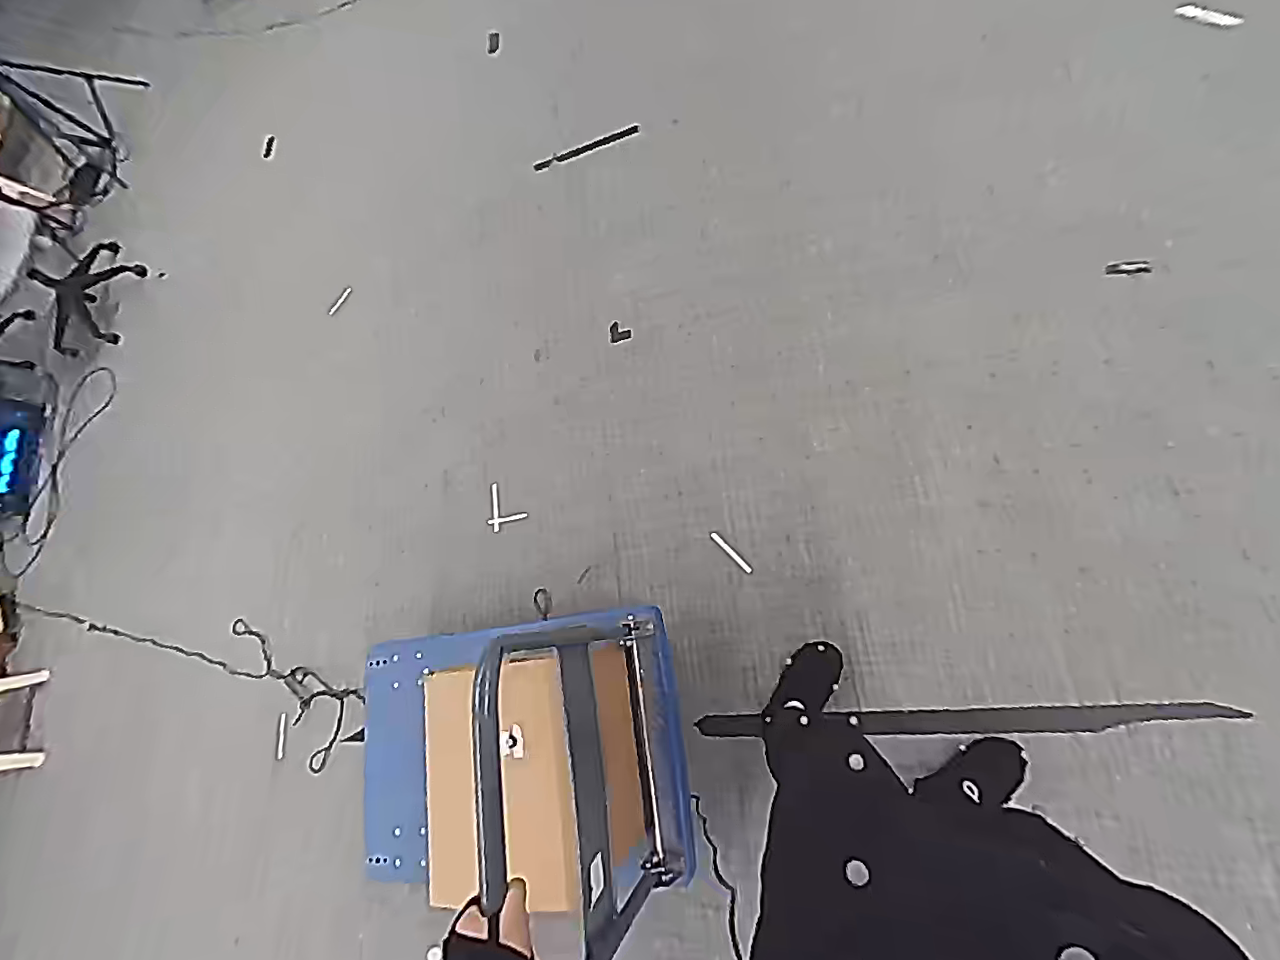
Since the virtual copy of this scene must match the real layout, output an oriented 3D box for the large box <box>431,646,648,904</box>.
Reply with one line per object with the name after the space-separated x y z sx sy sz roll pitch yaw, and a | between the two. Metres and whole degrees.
-0.201 0.581 1.129 0.320 0.320 0.408 -13 73 17 | large box
